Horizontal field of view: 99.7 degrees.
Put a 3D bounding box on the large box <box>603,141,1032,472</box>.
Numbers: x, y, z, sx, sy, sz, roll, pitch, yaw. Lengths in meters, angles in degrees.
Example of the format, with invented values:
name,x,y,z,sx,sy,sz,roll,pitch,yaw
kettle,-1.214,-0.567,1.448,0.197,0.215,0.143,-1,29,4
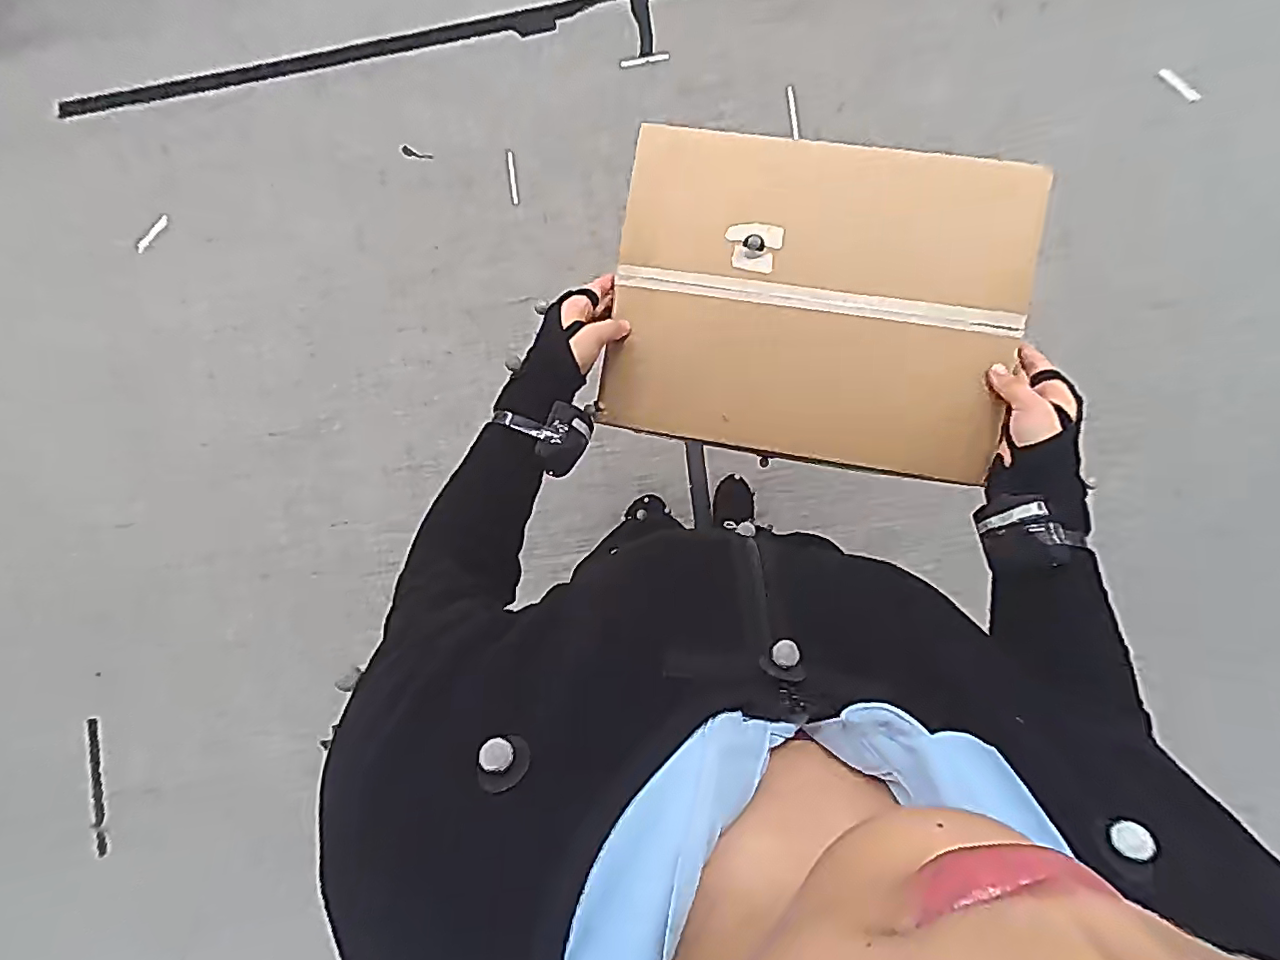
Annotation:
name,x,y,z,sx,sy,sz,roll,pitch,yaw
large box,0.193,-0.191,0.710,0.408,0.320,0.320,9,92,7
